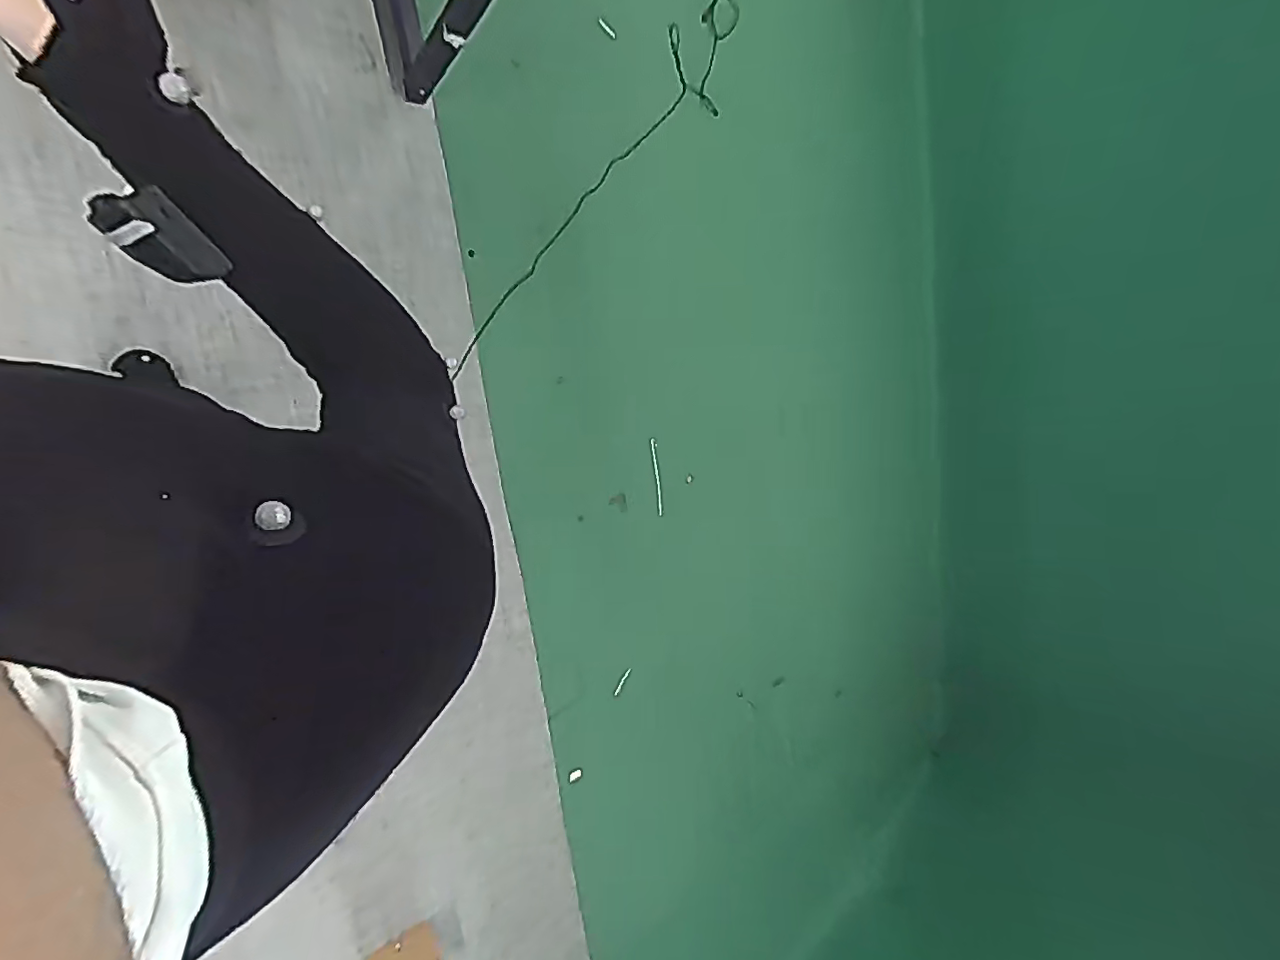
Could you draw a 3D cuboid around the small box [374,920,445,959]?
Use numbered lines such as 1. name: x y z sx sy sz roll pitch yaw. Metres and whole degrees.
1. small box: -0.681 1.483 1.607 0.179 0.176 0.168 -12 101 -37
